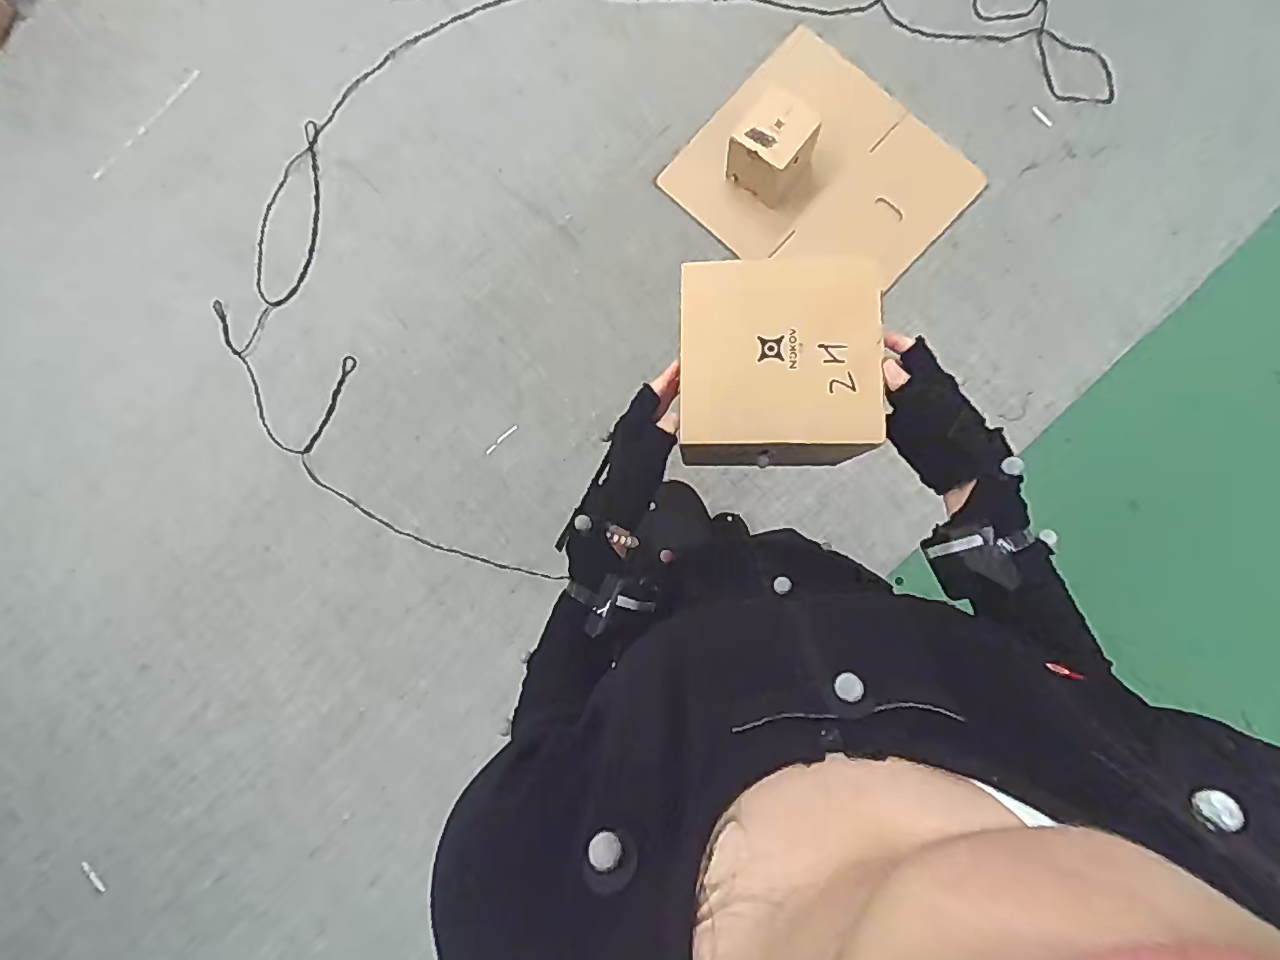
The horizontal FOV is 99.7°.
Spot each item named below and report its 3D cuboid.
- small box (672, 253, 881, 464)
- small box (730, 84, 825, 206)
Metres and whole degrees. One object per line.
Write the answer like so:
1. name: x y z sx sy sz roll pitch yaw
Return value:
1. small box: 0.125 -0.107 0.543 0.179 0.176 0.168 1 85 6
2. small box: 0.354 -0.873 1.428 0.168 0.176 0.179 39 90 7
